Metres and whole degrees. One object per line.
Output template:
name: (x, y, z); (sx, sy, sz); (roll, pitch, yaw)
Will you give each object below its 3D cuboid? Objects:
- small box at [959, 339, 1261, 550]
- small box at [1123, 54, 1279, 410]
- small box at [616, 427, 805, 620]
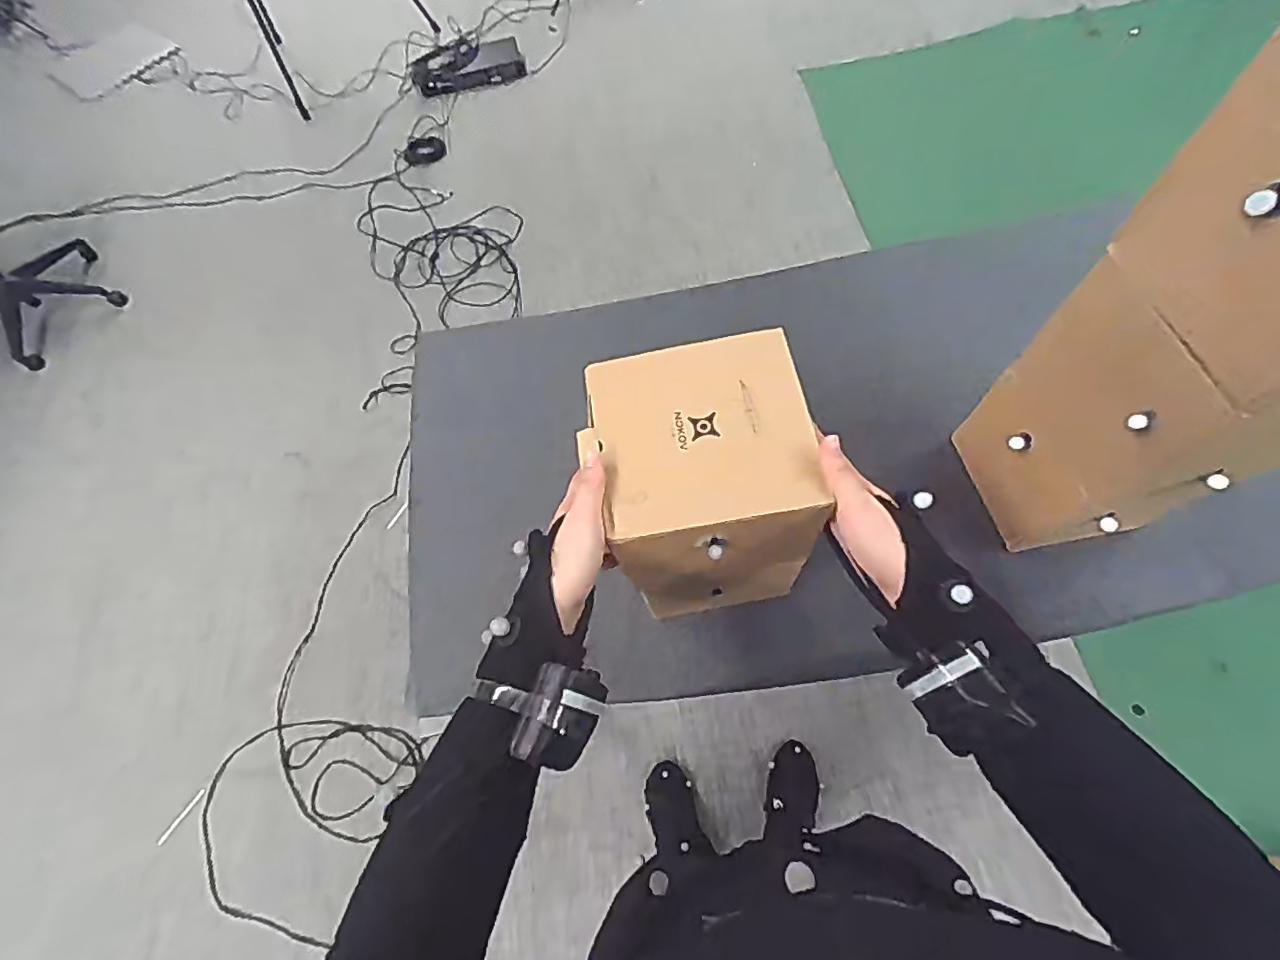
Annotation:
small box: (0.515, -0.028, 0.630); (0.168, 0.176, 0.179); (-12, 63, 2)
small box: (0.472, -0.168, 0.336); (0.168, 0.176, 0.179); (-15, 63, 1)
small box: (0.078, 0.060, 0.646); (0.179, 0.176, 0.168); (-11, 64, 3)
